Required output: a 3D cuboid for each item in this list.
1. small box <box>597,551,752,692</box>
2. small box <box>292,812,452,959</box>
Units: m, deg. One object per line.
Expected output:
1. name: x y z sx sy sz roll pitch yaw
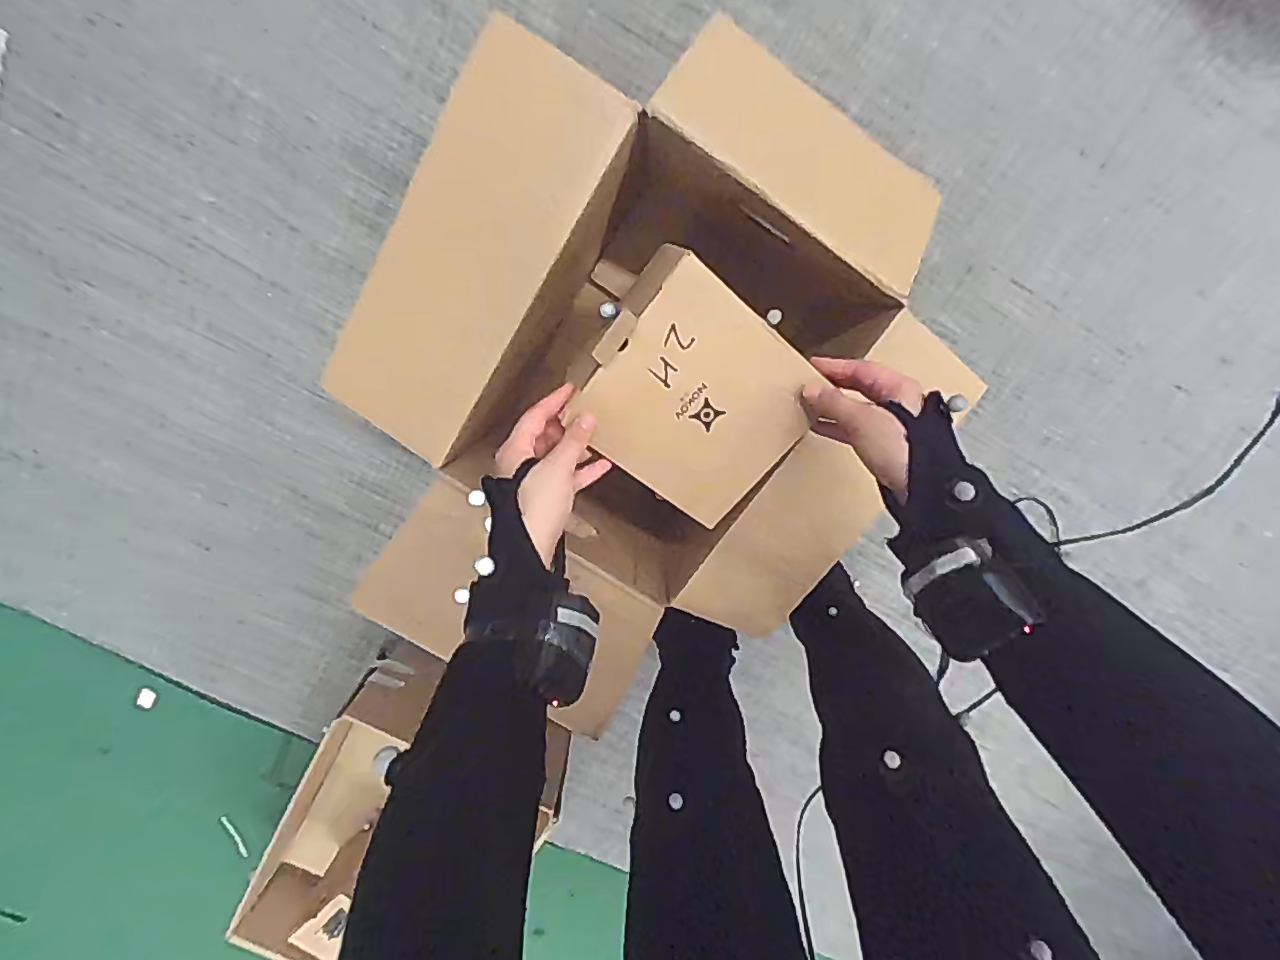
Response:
1. small box: 0.057 0.223 0.866 0.176 0.168 0.179 16 82 -29
2. small box: -0.498 0.776 1.030 0.168 0.176 0.179 -43 101 13
